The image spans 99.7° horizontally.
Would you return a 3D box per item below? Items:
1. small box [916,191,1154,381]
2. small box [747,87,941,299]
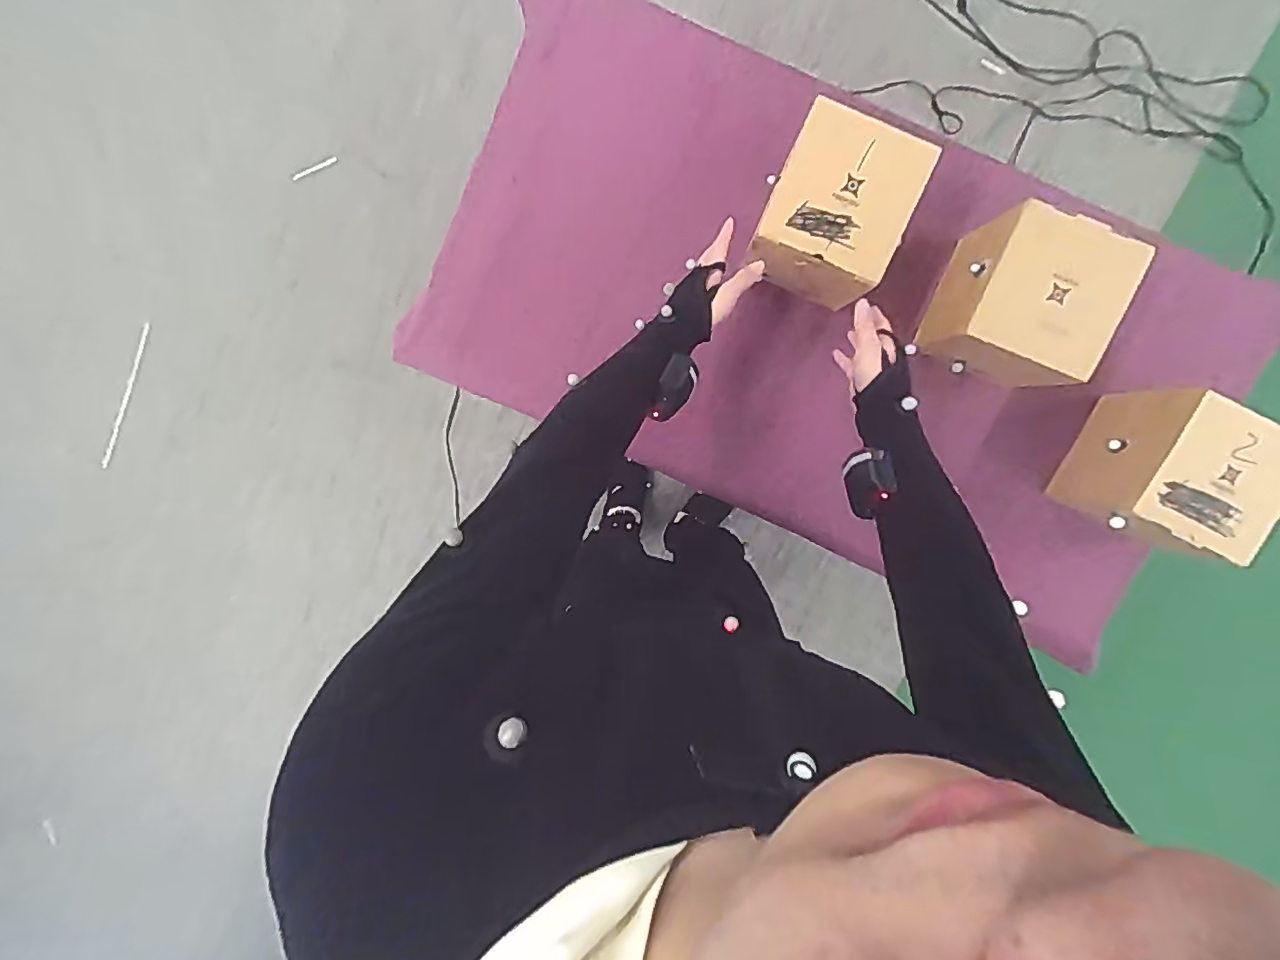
[{"bbox_3d":[0.516,-0.248,0.739,0.168,0.176,0.179,23,99,0],"label":"small box"},{"bbox_3d":[0.257,-0.368,0.734,0.168,0.176,0.179,24,97,-1],"label":"small box"}]
